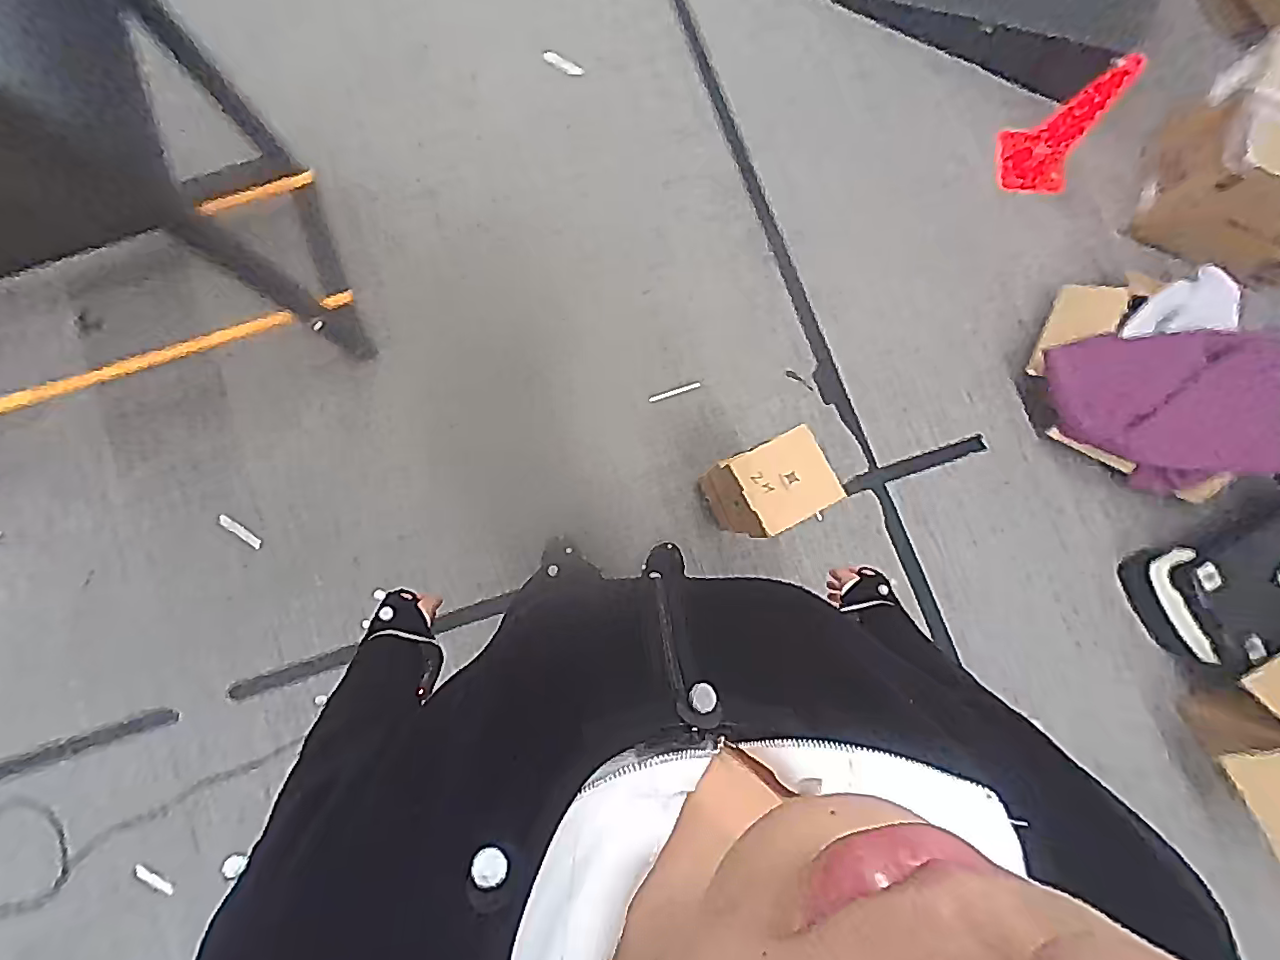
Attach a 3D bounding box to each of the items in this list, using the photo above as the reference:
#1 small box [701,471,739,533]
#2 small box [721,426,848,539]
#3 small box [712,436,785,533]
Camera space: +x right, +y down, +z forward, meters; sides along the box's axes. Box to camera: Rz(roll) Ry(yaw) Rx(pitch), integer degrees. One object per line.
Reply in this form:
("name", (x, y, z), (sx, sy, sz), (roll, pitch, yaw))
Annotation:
("small box", (0.279, 0.031, 1.449), (0.179, 0.176, 0.168), (-26, 84, -2))
("small box", (0.288, 0.010, 1.120), (0.179, 0.176, 0.168), (-27, 84, -3))
("small box", (0.286, 0.018, 1.285), (0.168, 0.176, 0.179), (-24, 85, -3))
